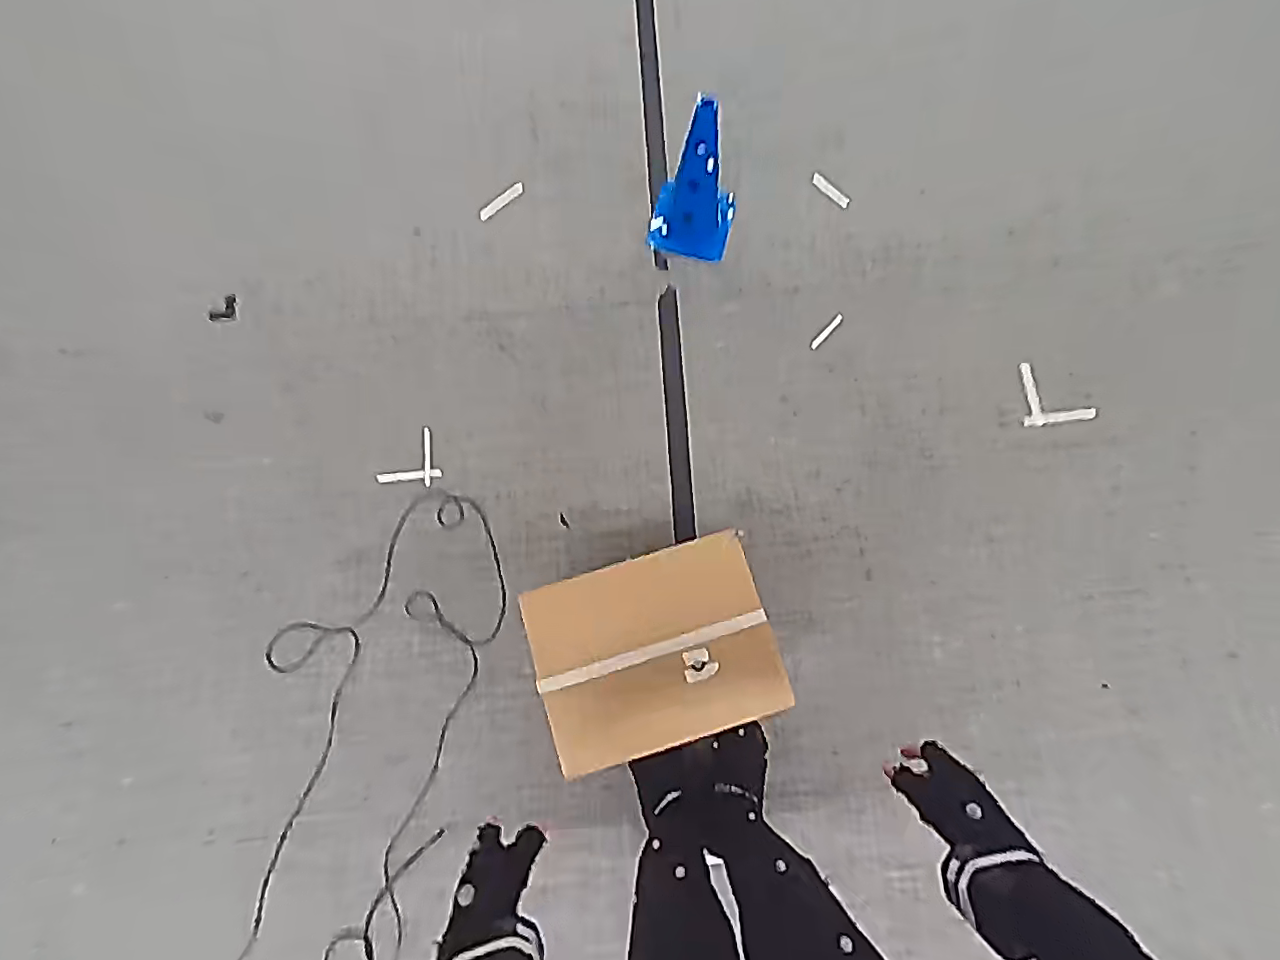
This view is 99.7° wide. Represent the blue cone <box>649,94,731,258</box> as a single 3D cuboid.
[{"bbox_3d":[0.128,-0.701,1.244,0.193,0.380,0.192,16,80,4],"label":"blue cone"}]

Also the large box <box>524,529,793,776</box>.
[{"bbox_3d":[0.029,0.322,1.076,0.408,0.320,0.320,-17,79,-2],"label":"large box"}]
